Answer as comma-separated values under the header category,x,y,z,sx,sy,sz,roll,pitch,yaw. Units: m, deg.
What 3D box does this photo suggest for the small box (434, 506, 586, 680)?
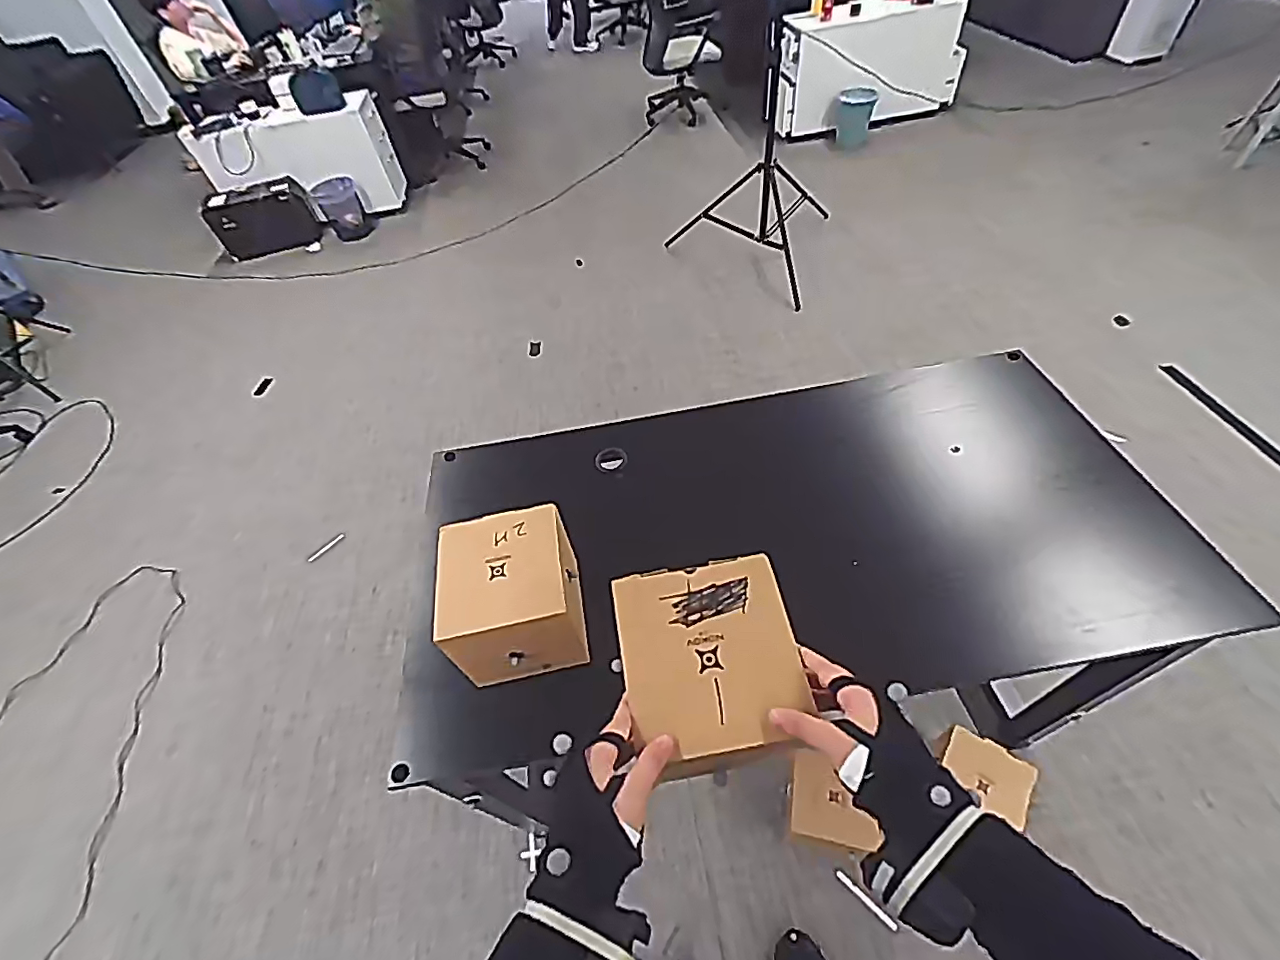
category,x,y,z,sx,sy,sz,roll,pitch,yaw
small box,-0.178,0.168,0.773,0.168,0.176,0.179,-12,50,-3

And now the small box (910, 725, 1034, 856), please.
category,x,y,z,sx,sy,sz,roll,pitch,yaw
small box,0.715,0.677,1.179,0.168,0.176,0.179,25,59,26

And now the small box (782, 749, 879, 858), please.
category,x,y,z,sx,sy,sz,roll,pitch,yaw
small box,0.414,0.717,1.193,0.179,0.176,0.168,5,51,13

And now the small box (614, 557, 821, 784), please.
category,x,y,z,sx,sy,sz,roll,pitch,yaw
small box,0.069,0.207,0.576,0.168,0.176,0.179,-10,57,-2
